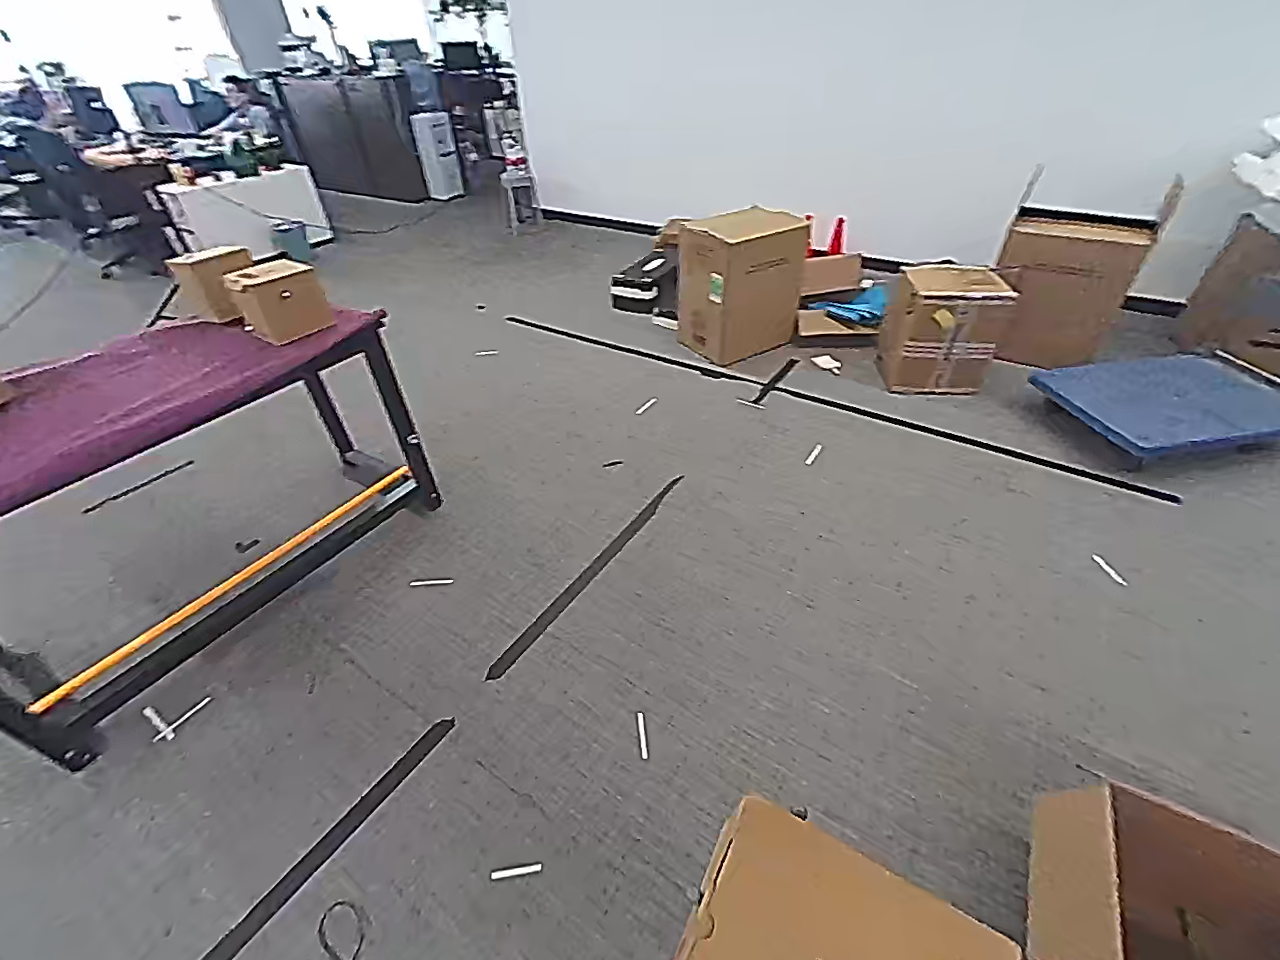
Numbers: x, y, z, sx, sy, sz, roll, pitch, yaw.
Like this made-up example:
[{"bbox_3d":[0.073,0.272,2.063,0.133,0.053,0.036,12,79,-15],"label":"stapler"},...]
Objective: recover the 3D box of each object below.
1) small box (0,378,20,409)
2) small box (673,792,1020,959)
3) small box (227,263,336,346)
[{"bbox_3d":[-1.599,-0.226,1.225,0.176,0.168,0.179,23,53,29],"label":"small box"},{"bbox_3d":[0.116,0.349,0.368,0.179,0.176,0.168,20,55,19],"label":"small box"},{"bbox_3d":[-1.015,-0.500,1.542,0.168,0.176,0.179,23,45,29],"label":"small box"}]
